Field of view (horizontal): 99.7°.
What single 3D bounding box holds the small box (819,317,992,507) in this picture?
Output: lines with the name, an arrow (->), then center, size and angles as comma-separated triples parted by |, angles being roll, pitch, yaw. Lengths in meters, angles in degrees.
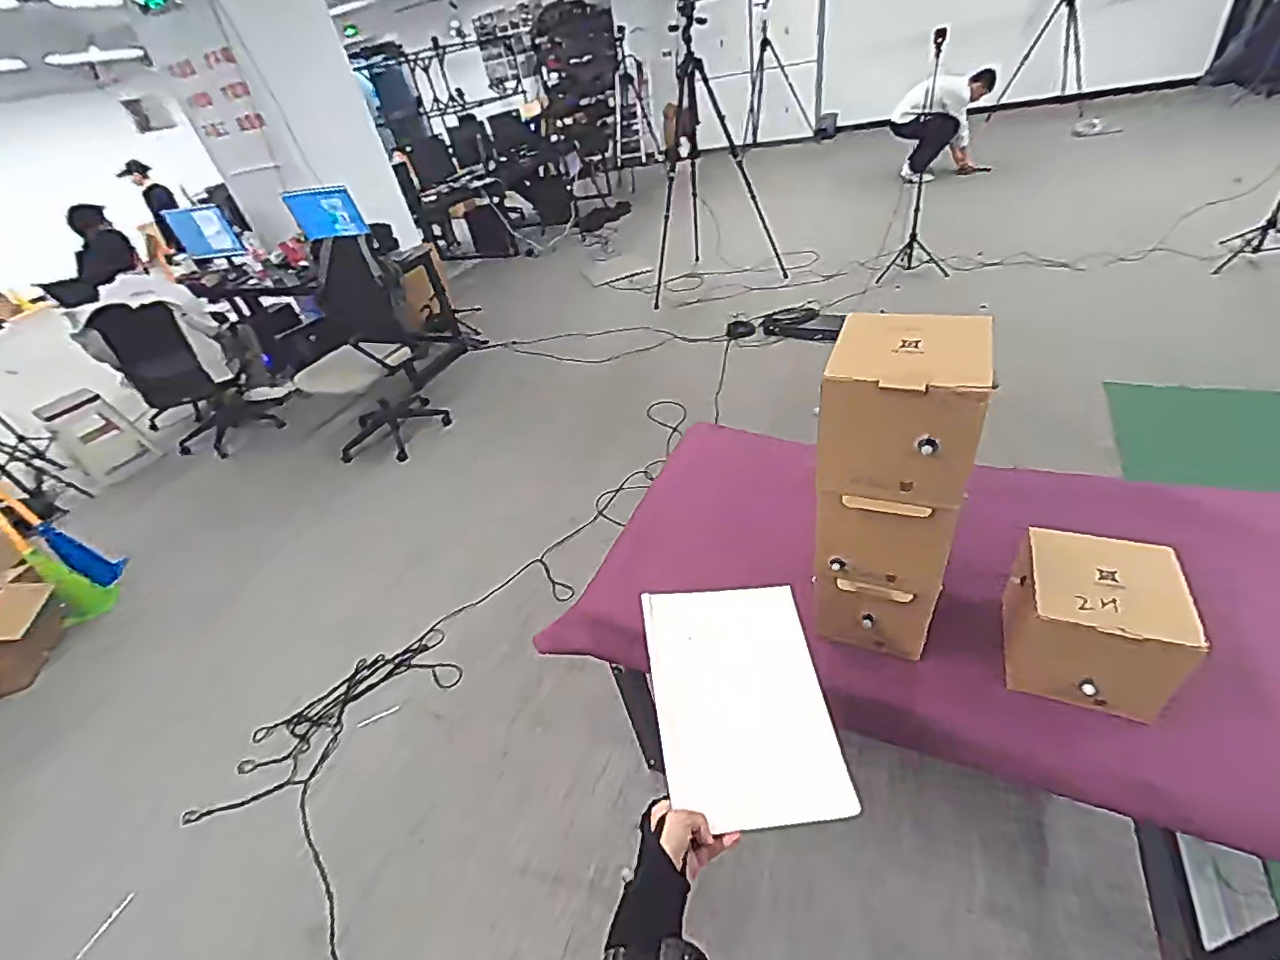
small box -> 0.326, -0.089, 0.678 | 0.168, 0.176, 0.179 | 11, 43, 26

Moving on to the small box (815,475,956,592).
small box -> 0.355, 0.034, 0.781 | 0.168, 0.176, 0.179 | 10, 42, 26

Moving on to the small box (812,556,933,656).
small box -> 0.385, 0.157, 0.886 | 0.168, 0.176, 0.179 | 10, 44, 25
